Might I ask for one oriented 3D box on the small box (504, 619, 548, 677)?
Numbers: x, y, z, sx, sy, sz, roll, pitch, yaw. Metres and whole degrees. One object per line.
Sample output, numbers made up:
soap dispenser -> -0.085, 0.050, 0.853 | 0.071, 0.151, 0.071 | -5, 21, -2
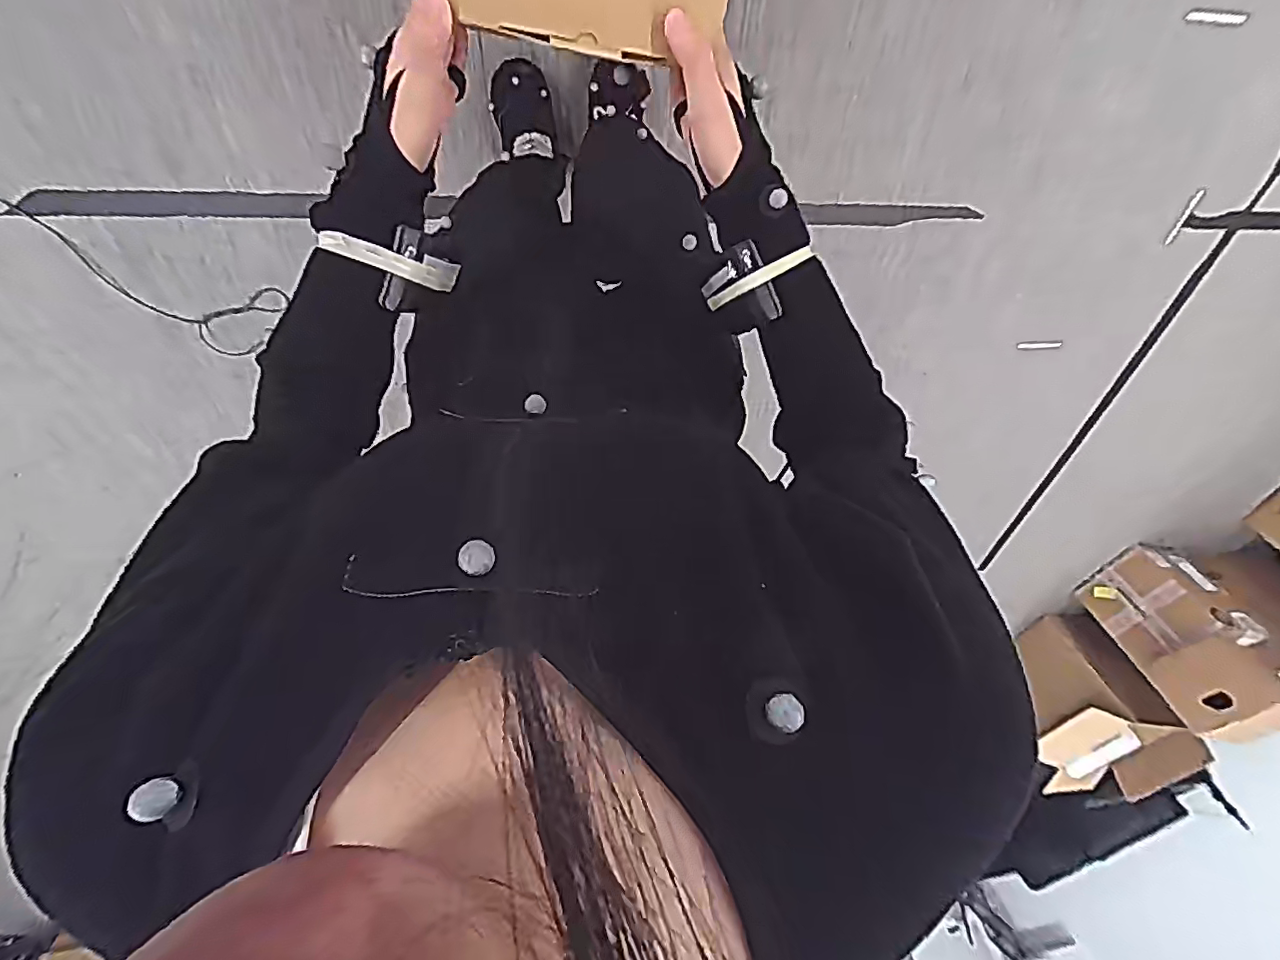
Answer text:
small box -> -0.484, 0.716, 2.310 | 0.168, 0.176, 0.179 | -5, 134, -8

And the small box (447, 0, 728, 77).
small box -> -0.032, -0.378, 0.339 | 0.168, 0.176, 0.179 | 0, 127, -14
